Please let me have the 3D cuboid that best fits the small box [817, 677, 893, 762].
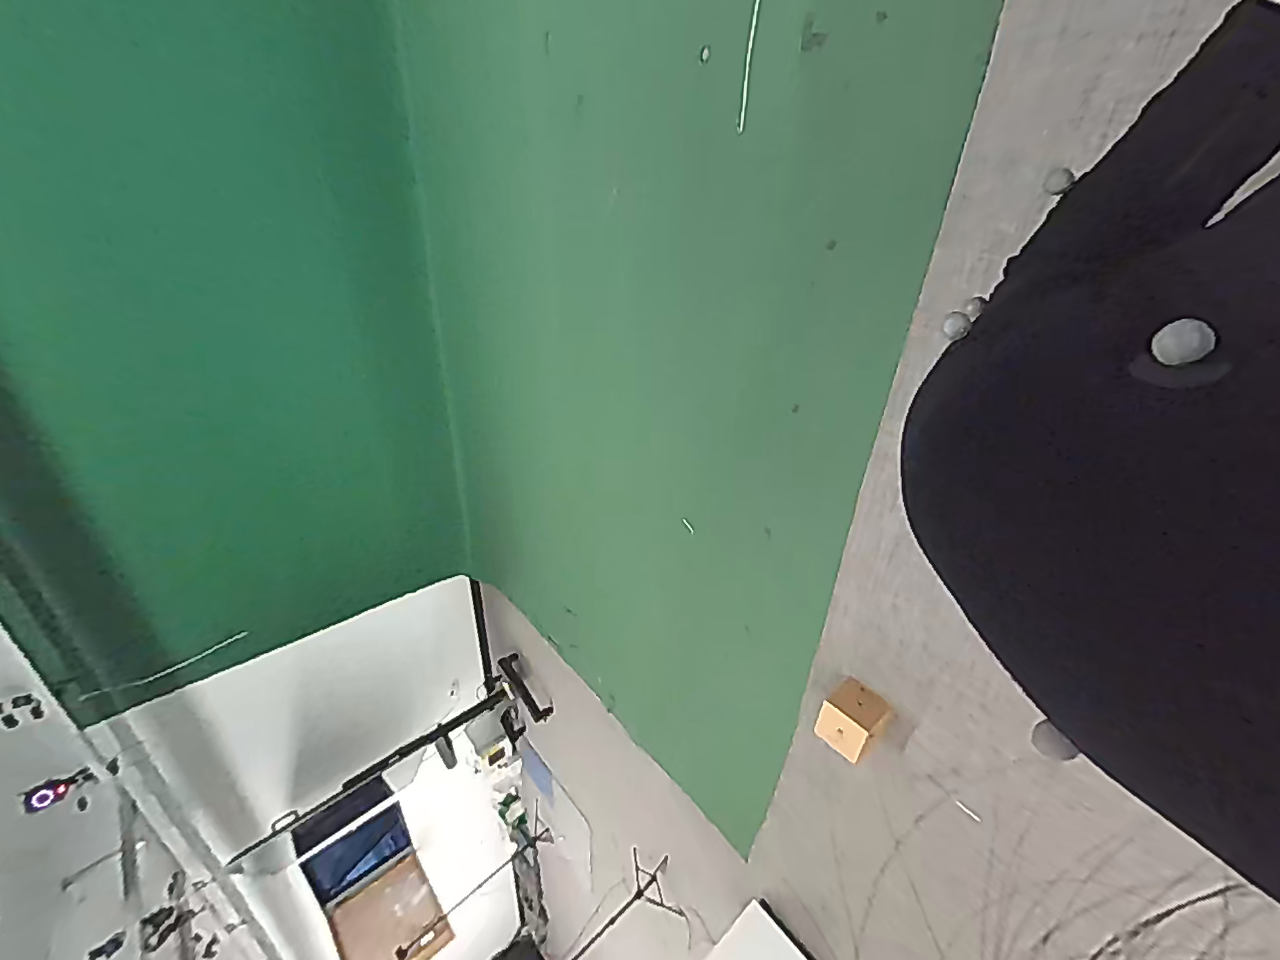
[{"bbox_3d":[0.747,0.821,1.871,0.168,0.176,0.179,32,130,40],"label":"small box"}]
